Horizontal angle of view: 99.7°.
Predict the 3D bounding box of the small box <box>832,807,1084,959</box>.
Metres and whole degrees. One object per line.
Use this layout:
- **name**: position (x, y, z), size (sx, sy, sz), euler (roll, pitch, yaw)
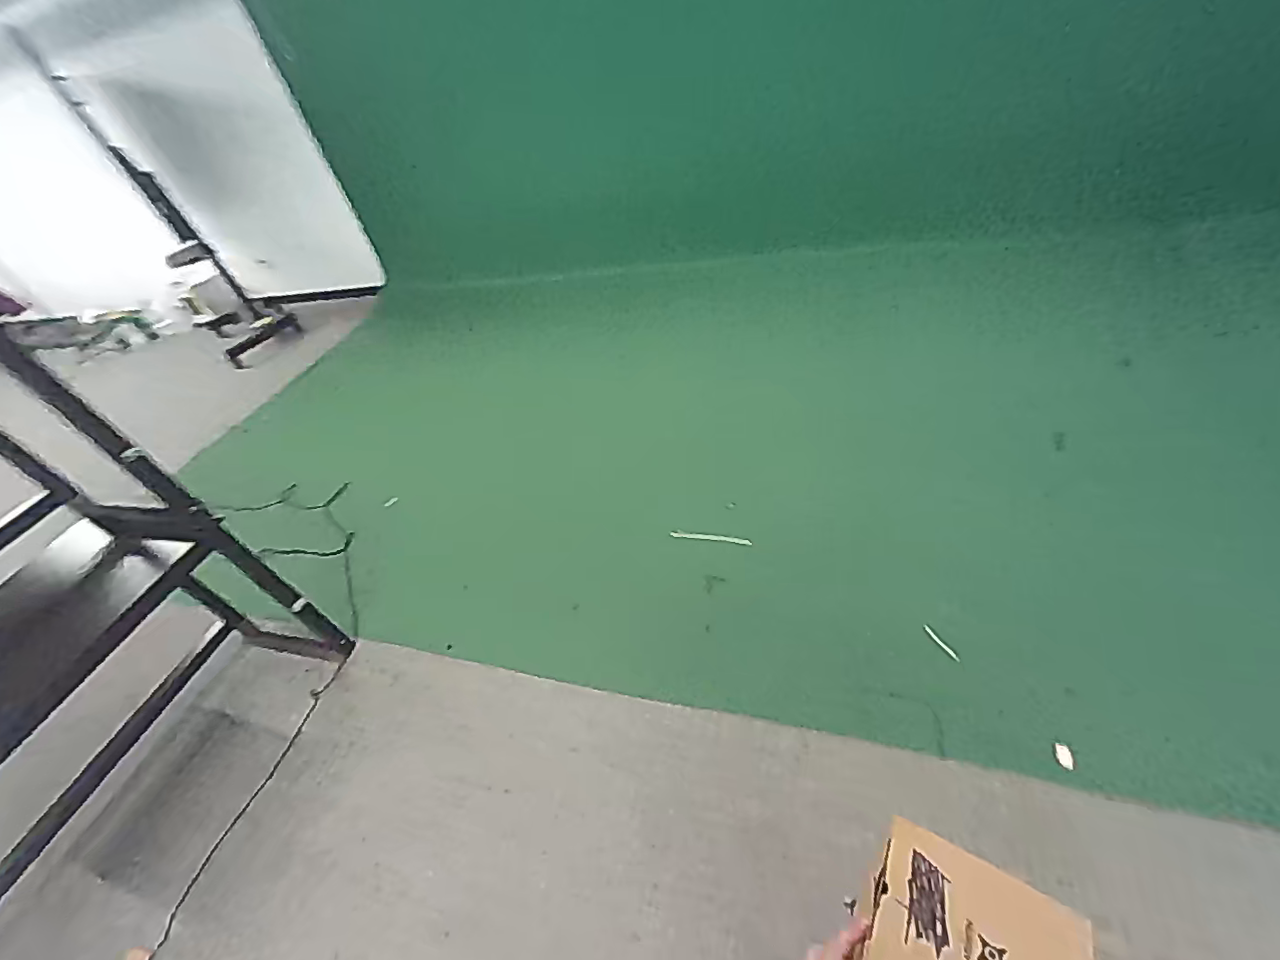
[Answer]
- **small box**: position (0.286, 0.472, 0.515), size (0.179, 0.176, 0.168), euler (19, 32, 26)
